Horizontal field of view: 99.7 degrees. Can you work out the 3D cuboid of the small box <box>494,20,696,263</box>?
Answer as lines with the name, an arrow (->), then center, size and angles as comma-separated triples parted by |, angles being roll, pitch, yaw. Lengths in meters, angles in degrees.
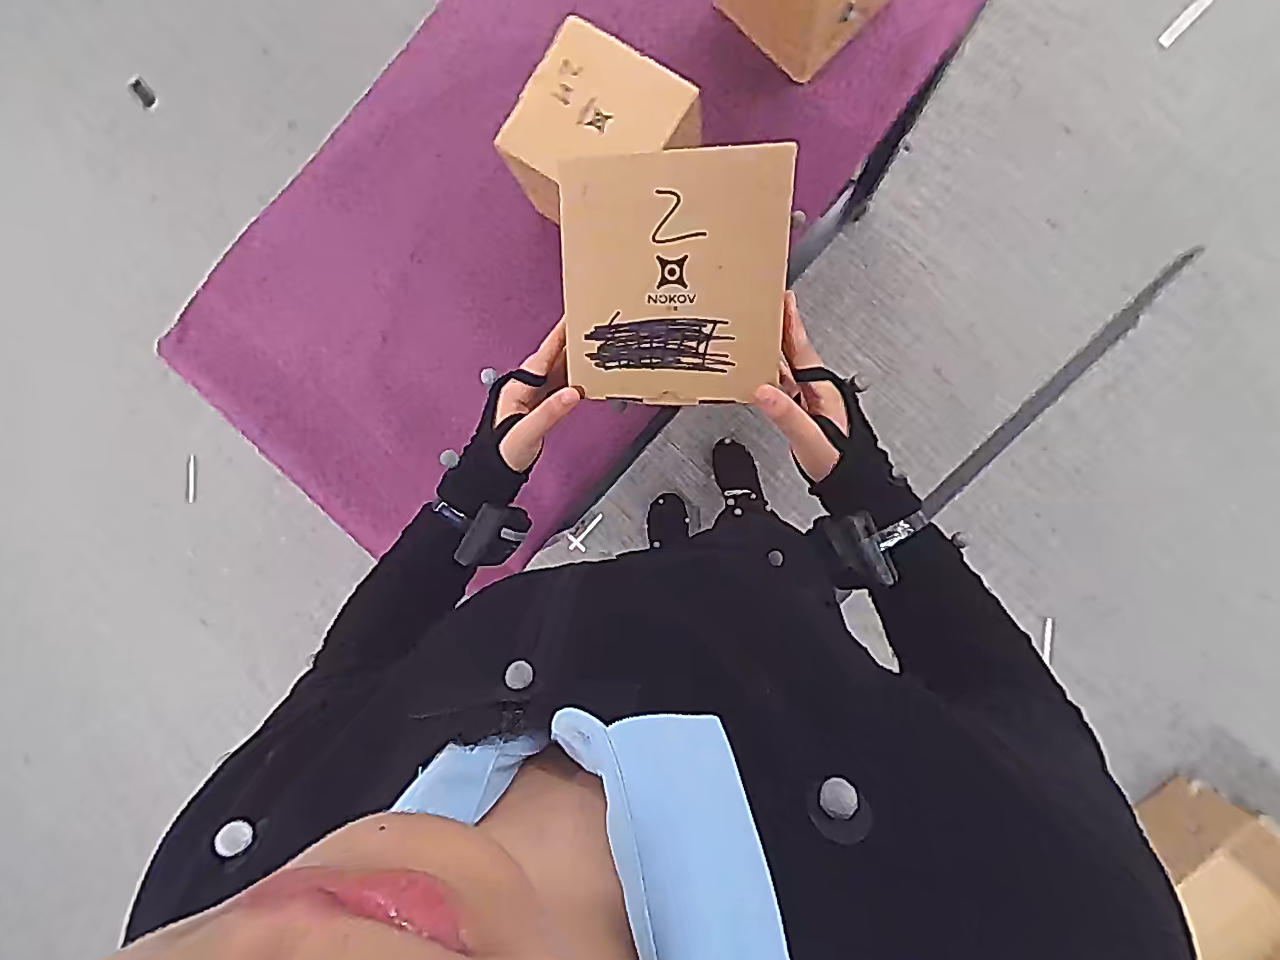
small box -> -0.042, -0.401, 0.681 | 0.179, 0.176, 0.168 | 34, 94, 6

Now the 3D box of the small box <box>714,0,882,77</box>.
small box -> 0.199, -0.646, 0.646 | 0.168, 0.176, 0.179 | -44, 84, 6
